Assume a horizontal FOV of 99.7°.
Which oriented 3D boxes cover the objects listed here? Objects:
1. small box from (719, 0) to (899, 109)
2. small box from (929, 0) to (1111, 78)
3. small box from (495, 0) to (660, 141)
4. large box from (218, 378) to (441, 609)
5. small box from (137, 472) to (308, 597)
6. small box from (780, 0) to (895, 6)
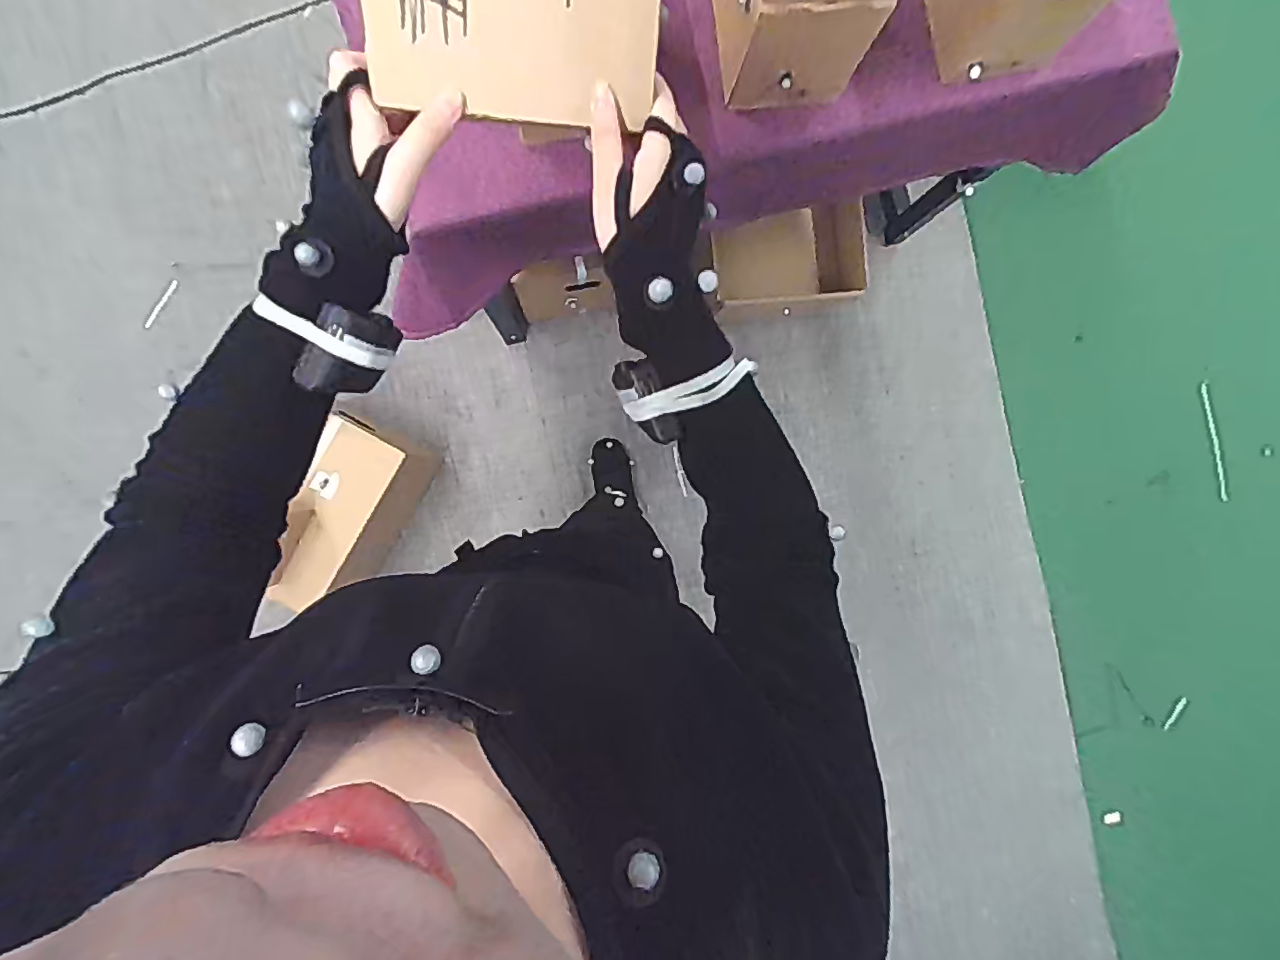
[{"bbox_3d":[0.206,-0.627,0.704,0.168,0.176,0.179,-7,92,-5],"label":"small box"},{"bbox_3d":[0.521,-0.685,0.730,0.168,0.176,0.179,-12,91,-5],"label":"small box"},{"bbox_3d":[-0.082,-0.559,0.675,0.179,0.176,0.168,-12,92,-4],"label":"small box"},{"bbox_3d":[-0.742,0.033,1.285,0.320,0.320,0.408,30,87,-6],"label":"large box"},{"bbox_3d":[-0.779,0.097,1.035,0.168,0.176,0.179,26,88,-3],"label":"small box"},{"bbox_3d":[0.222,-0.631,0.540,0.168,0.176,0.179,-6,91,-5],"label":"small box"}]
